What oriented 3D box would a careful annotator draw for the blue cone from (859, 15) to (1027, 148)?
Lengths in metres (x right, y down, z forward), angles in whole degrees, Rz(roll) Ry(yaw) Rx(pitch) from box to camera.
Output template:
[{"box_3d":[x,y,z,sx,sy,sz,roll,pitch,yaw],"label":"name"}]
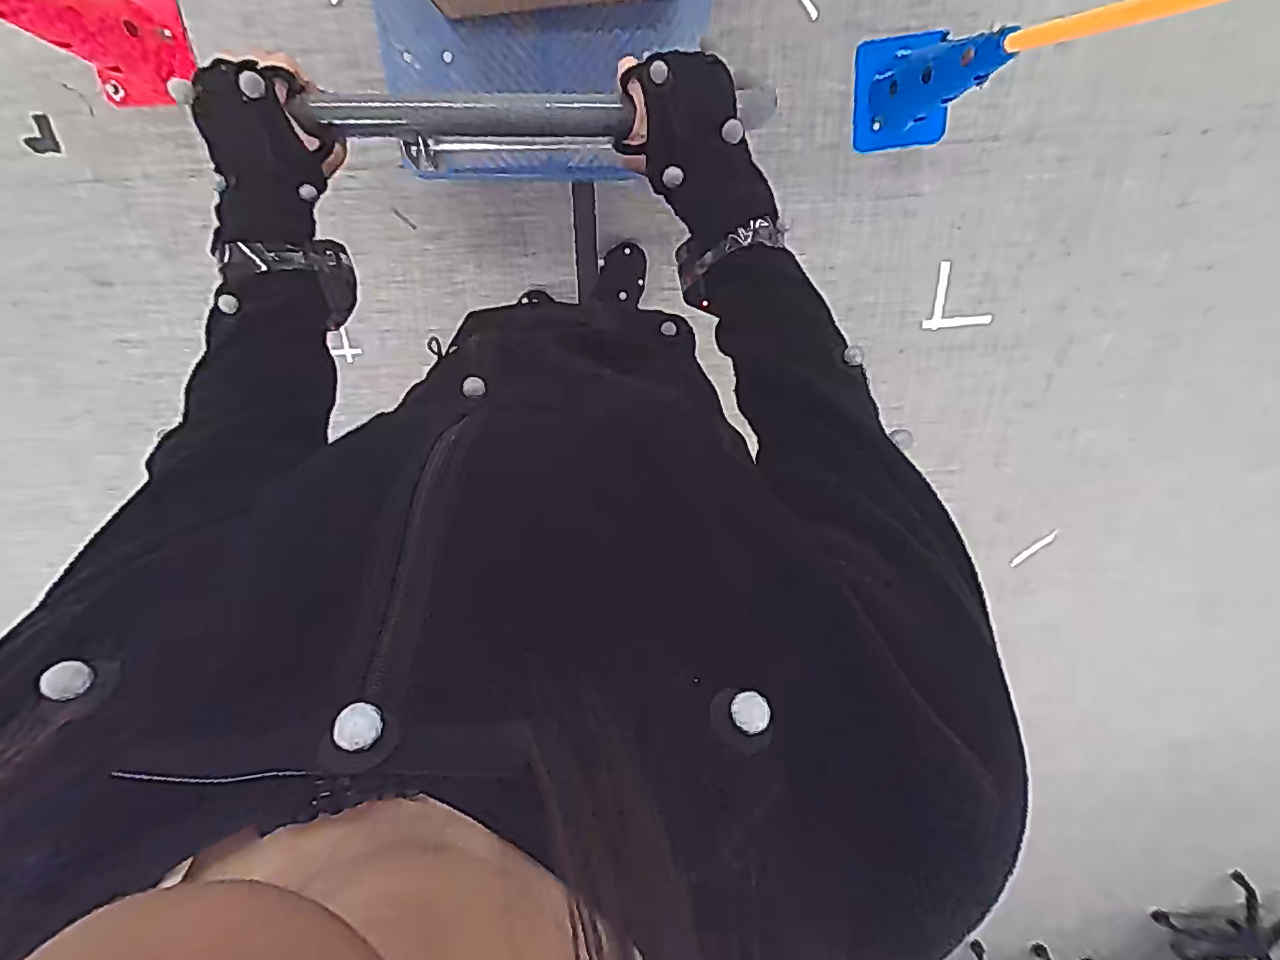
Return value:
[{"box_3d":[0.563,-0.749,0.990,0.193,0.380,0.192,-6,114,0],"label":"blue cone"}]
